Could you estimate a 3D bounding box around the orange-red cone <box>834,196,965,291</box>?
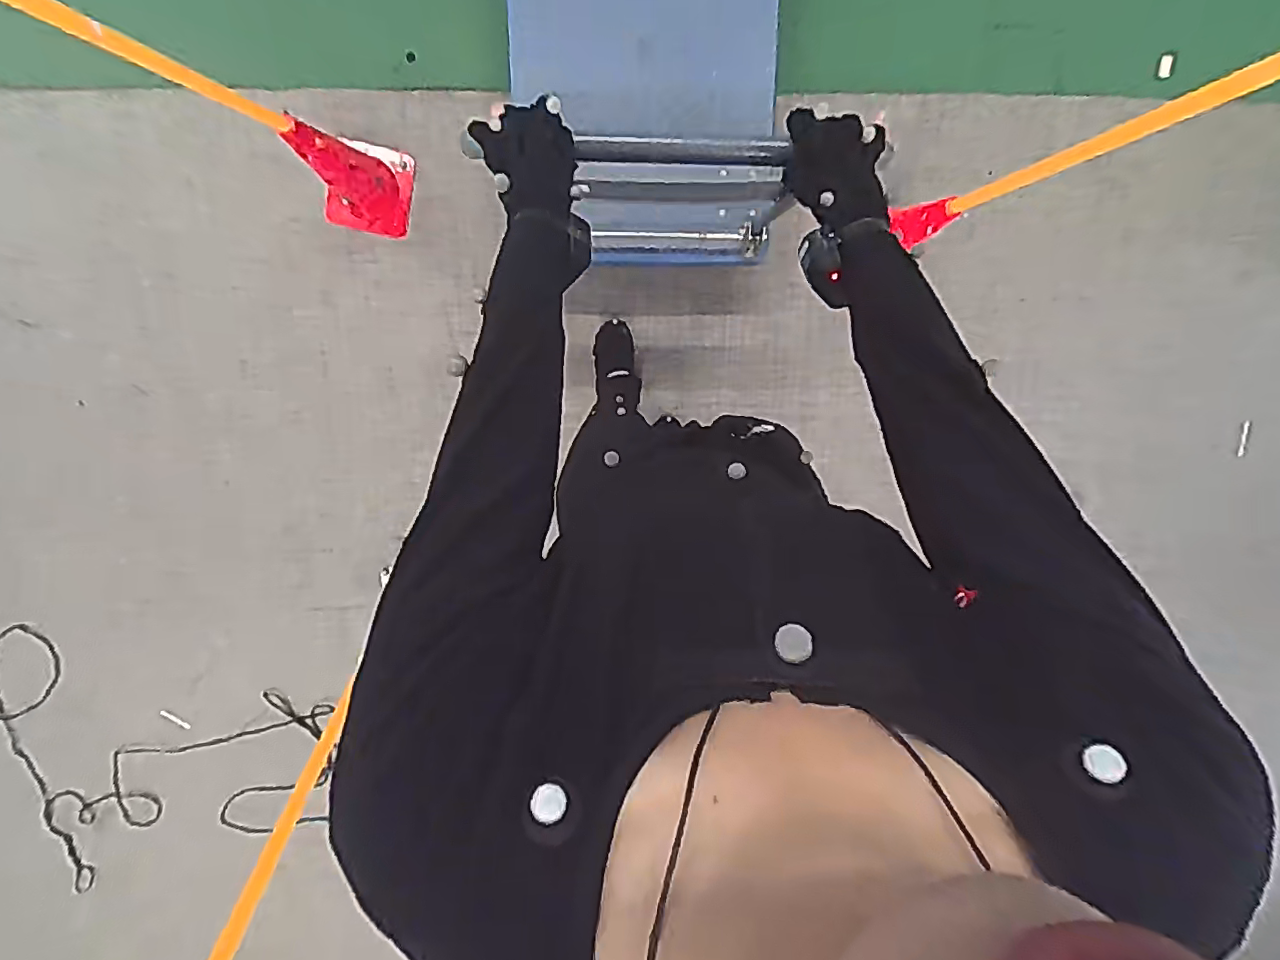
[{"bbox_3d":[0.624,-0.576,1.244,0.198,0.360,0.199,10,101,-4],"label":"orange-red cone"}]
